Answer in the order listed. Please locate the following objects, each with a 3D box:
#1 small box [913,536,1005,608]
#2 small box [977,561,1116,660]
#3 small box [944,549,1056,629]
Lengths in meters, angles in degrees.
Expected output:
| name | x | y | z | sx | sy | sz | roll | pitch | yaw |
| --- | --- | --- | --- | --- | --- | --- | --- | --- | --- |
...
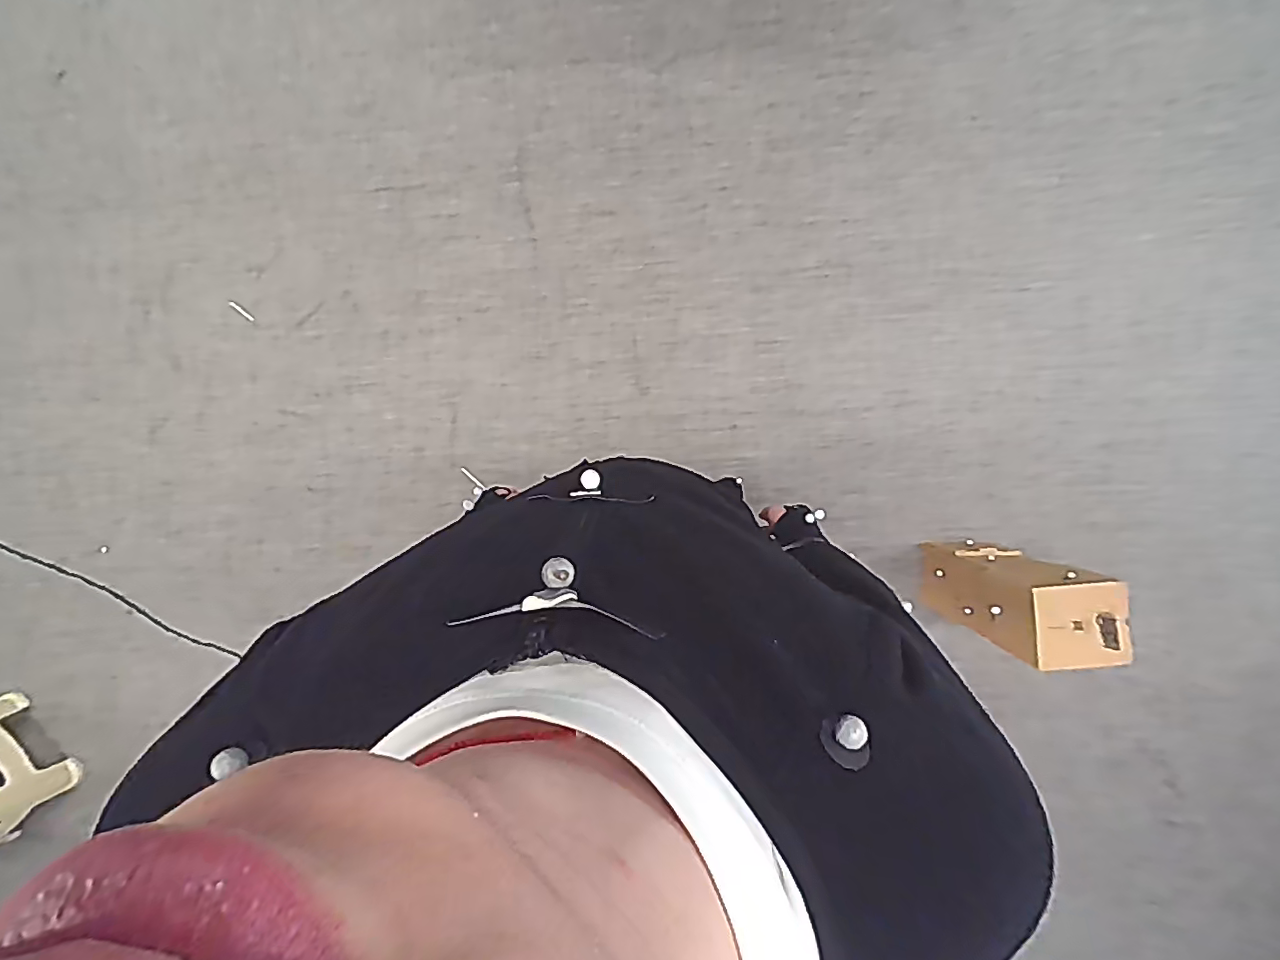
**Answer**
| name | x | y | z | sx | sy | sz | roll | pitch | yaw |
| --- | --- | --- | --- | --- | --- | --- | --- | --- | --- |
| small box | 0.875 | 0.251 | 1.493 | 0.168 | 0.176 | 0.179 | -3 | 93 | 0 |
| small box | 0.852 | 0.268 | 1.145 | 0.179 | 0.176 | 0.168 | -3 | 91 | 1 |
| small box | 0.865 | 0.264 | 1.312 | 0.179 | 0.176 | 0.168 | -2 | 94 | 0 |
